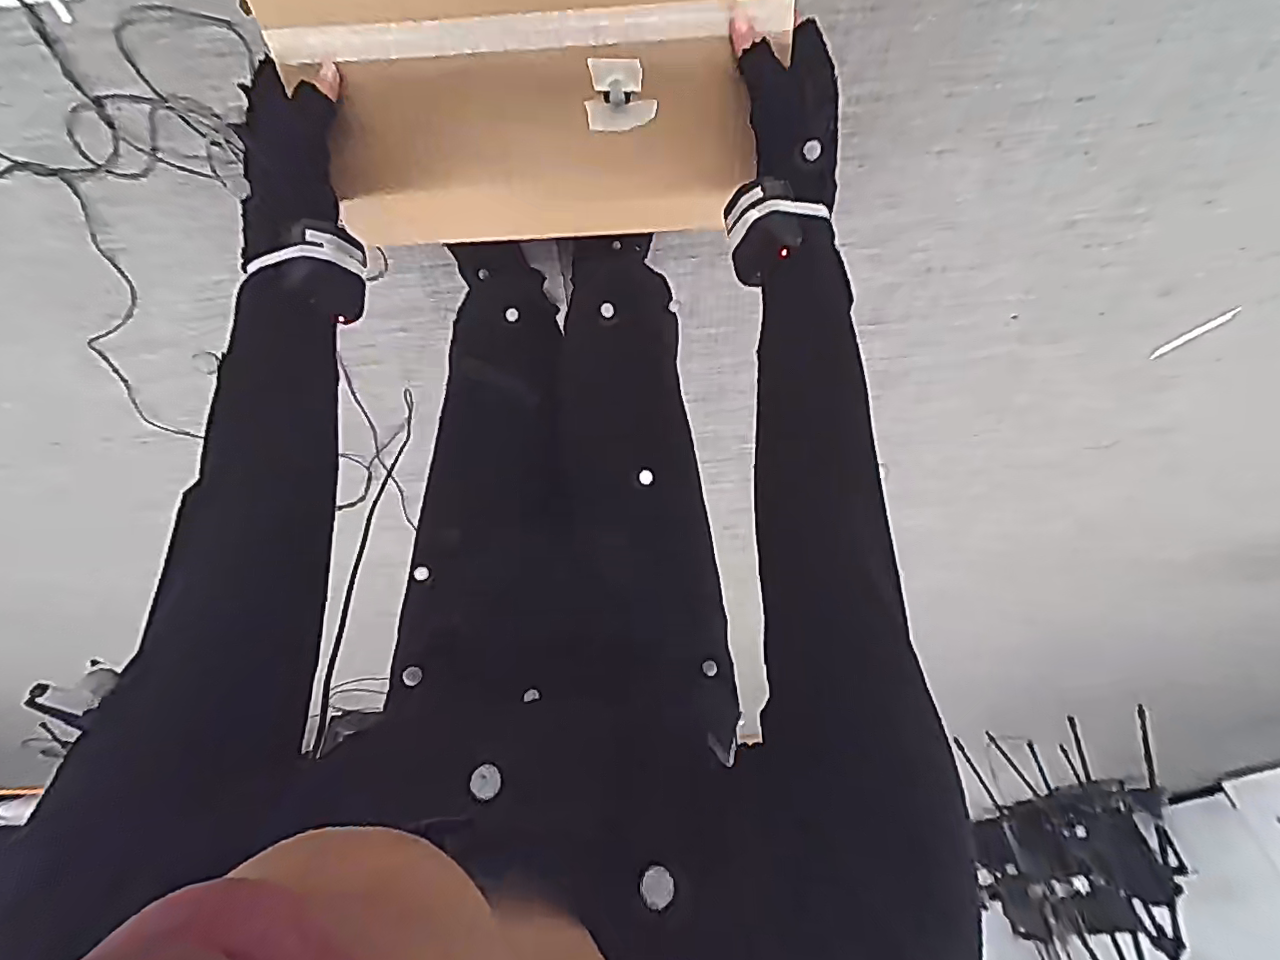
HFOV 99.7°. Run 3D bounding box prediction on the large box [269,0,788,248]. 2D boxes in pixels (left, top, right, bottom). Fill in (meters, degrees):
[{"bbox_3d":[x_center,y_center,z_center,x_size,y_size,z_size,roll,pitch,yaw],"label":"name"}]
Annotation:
[{"bbox_3d":[-0.088,-0.457,0.533,0.408,0.320,0.320,-3,136,1],"label":"large box"}]
